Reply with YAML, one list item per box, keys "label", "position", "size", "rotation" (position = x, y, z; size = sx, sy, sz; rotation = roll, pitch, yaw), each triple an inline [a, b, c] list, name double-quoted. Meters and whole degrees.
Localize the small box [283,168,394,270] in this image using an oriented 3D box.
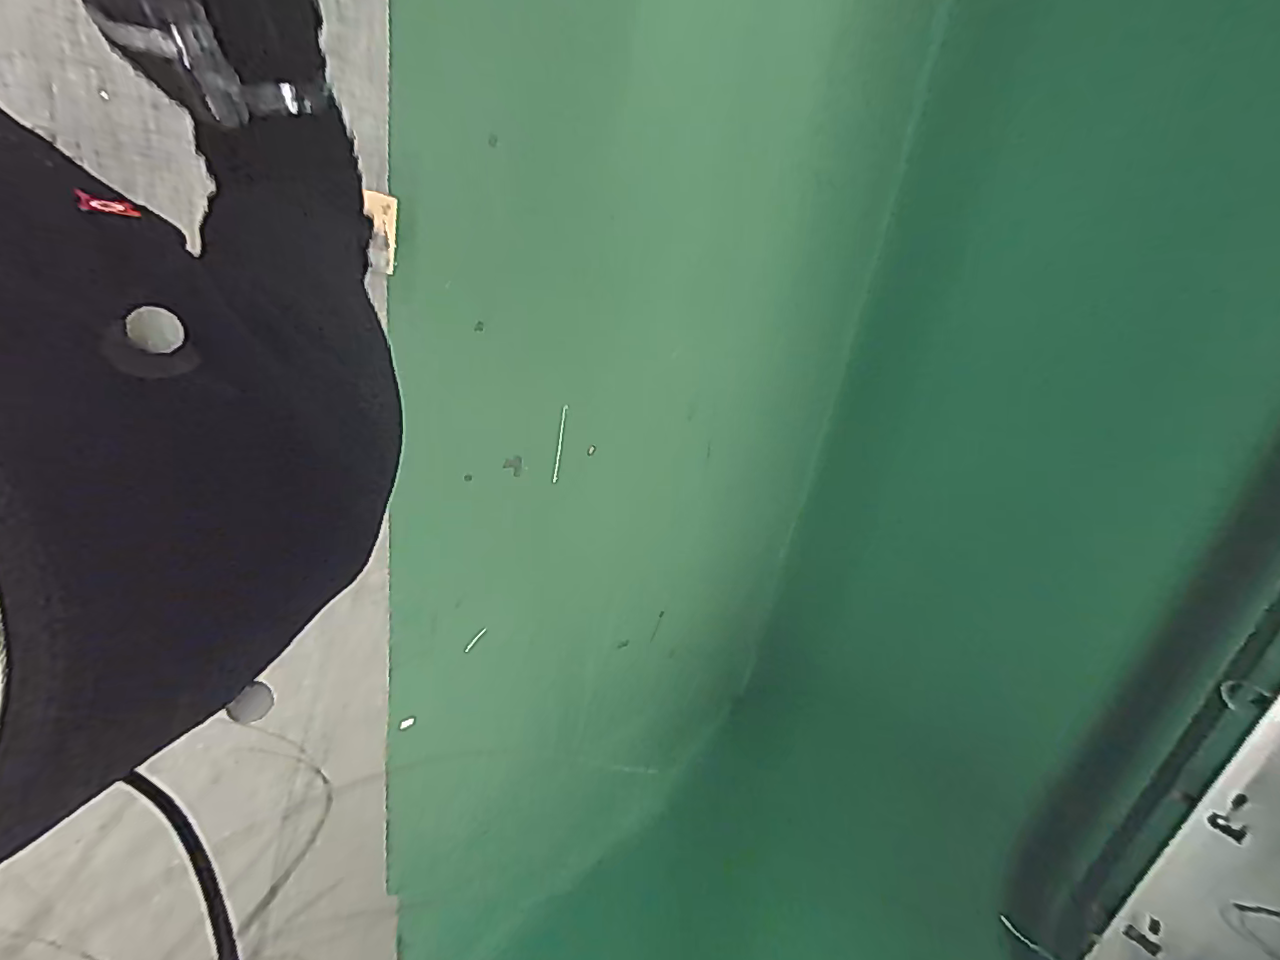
- label: "small box"
  position: [-0.679, -0.580, 1.211]
  size: [0.179, 0.176, 0.168]
  rotation: [-8, 117, -48]
